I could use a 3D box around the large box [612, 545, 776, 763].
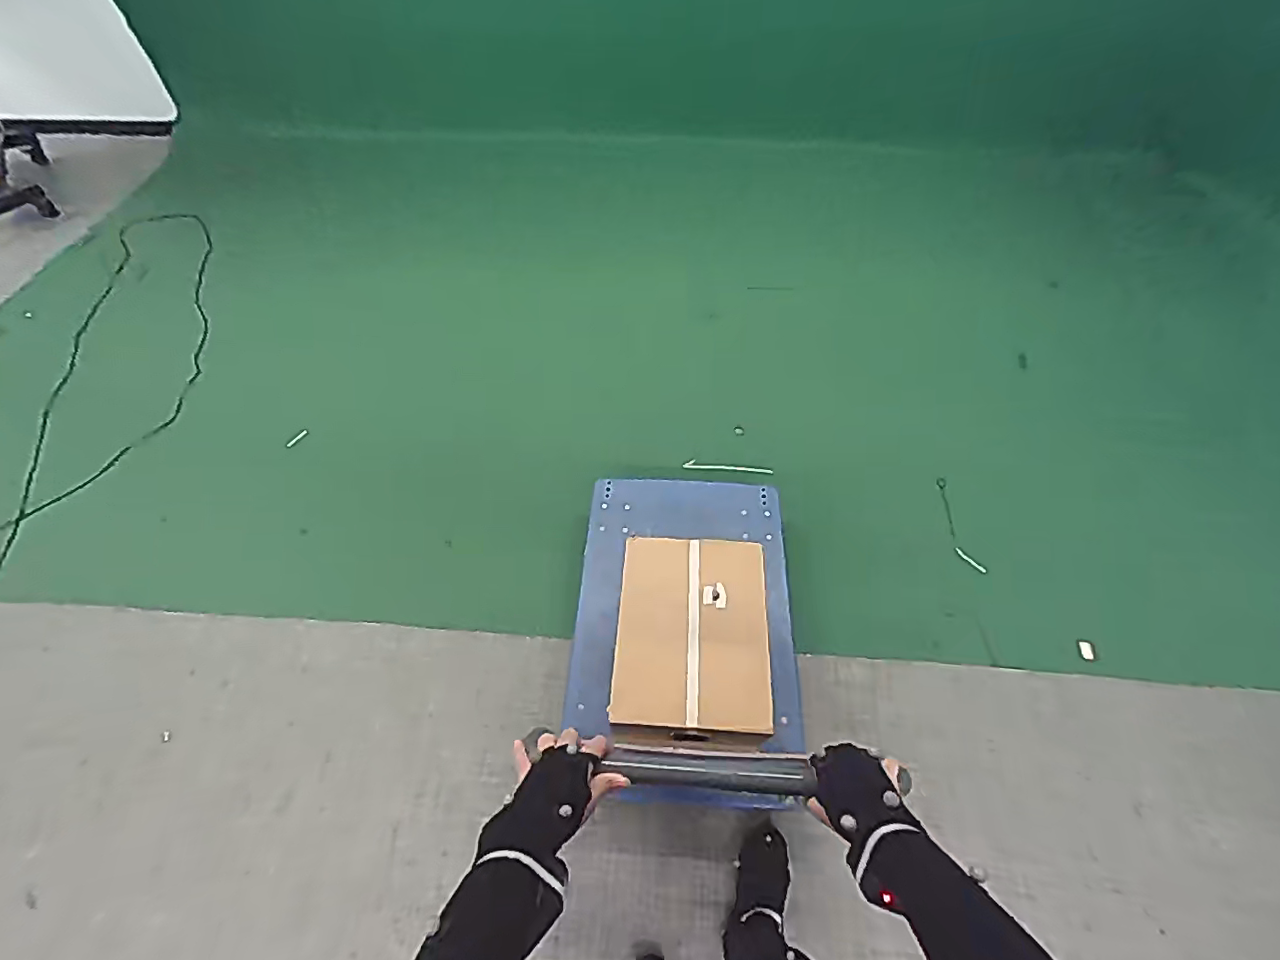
[{"bbox_3d":[0.116,0.402,1.242,0.320,0.320,0.408,3,54,3],"label":"large box"}]
